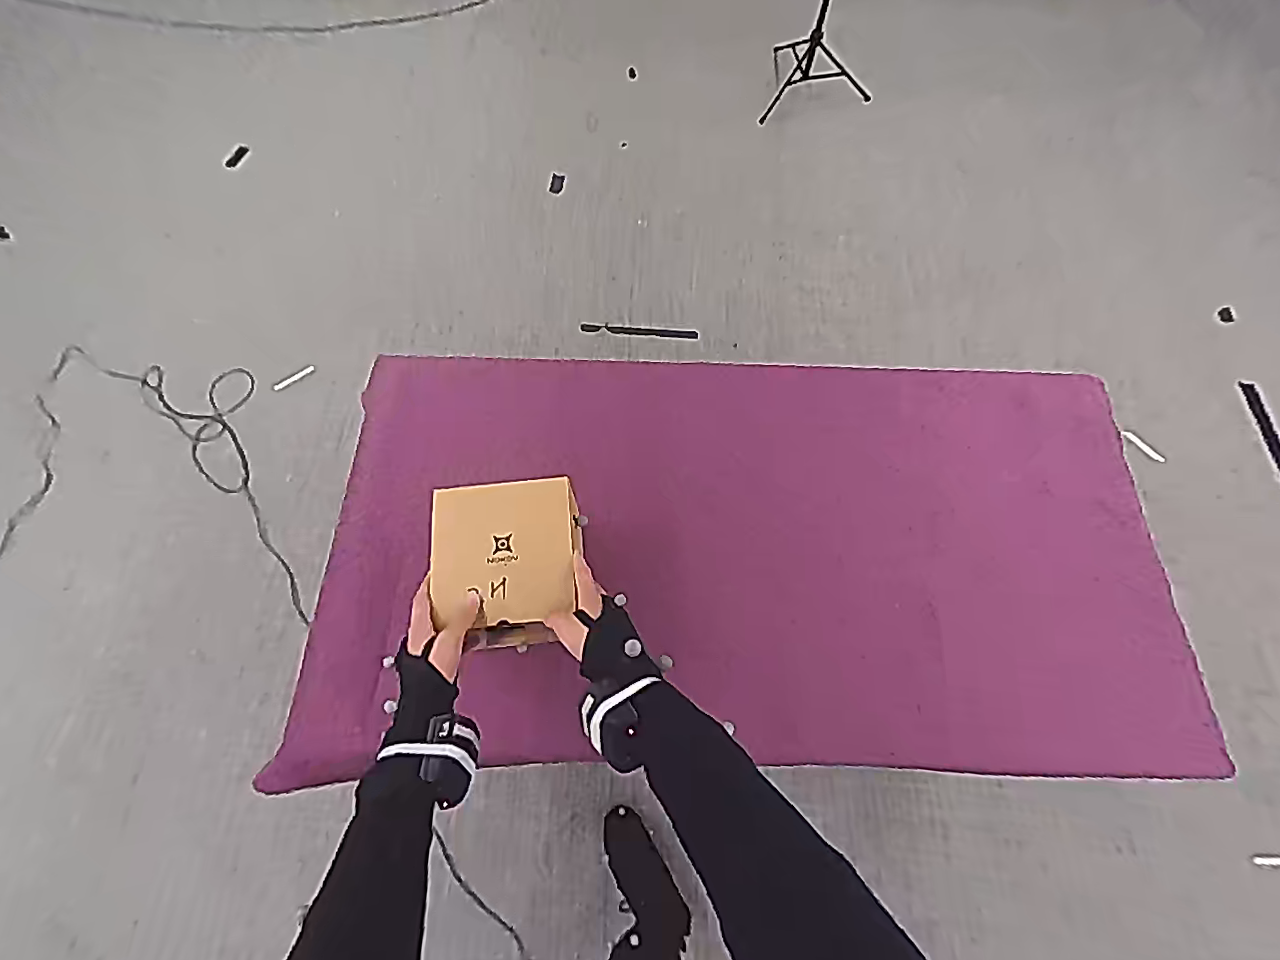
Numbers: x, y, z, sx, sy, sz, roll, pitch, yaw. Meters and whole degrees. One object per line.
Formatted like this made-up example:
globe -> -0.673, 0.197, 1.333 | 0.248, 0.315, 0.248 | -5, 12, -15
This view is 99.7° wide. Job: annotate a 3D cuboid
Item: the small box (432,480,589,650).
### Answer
small box -> -0.158, 0.117, 0.707 | 0.168, 0.176, 0.179 | -5, 67, -2
